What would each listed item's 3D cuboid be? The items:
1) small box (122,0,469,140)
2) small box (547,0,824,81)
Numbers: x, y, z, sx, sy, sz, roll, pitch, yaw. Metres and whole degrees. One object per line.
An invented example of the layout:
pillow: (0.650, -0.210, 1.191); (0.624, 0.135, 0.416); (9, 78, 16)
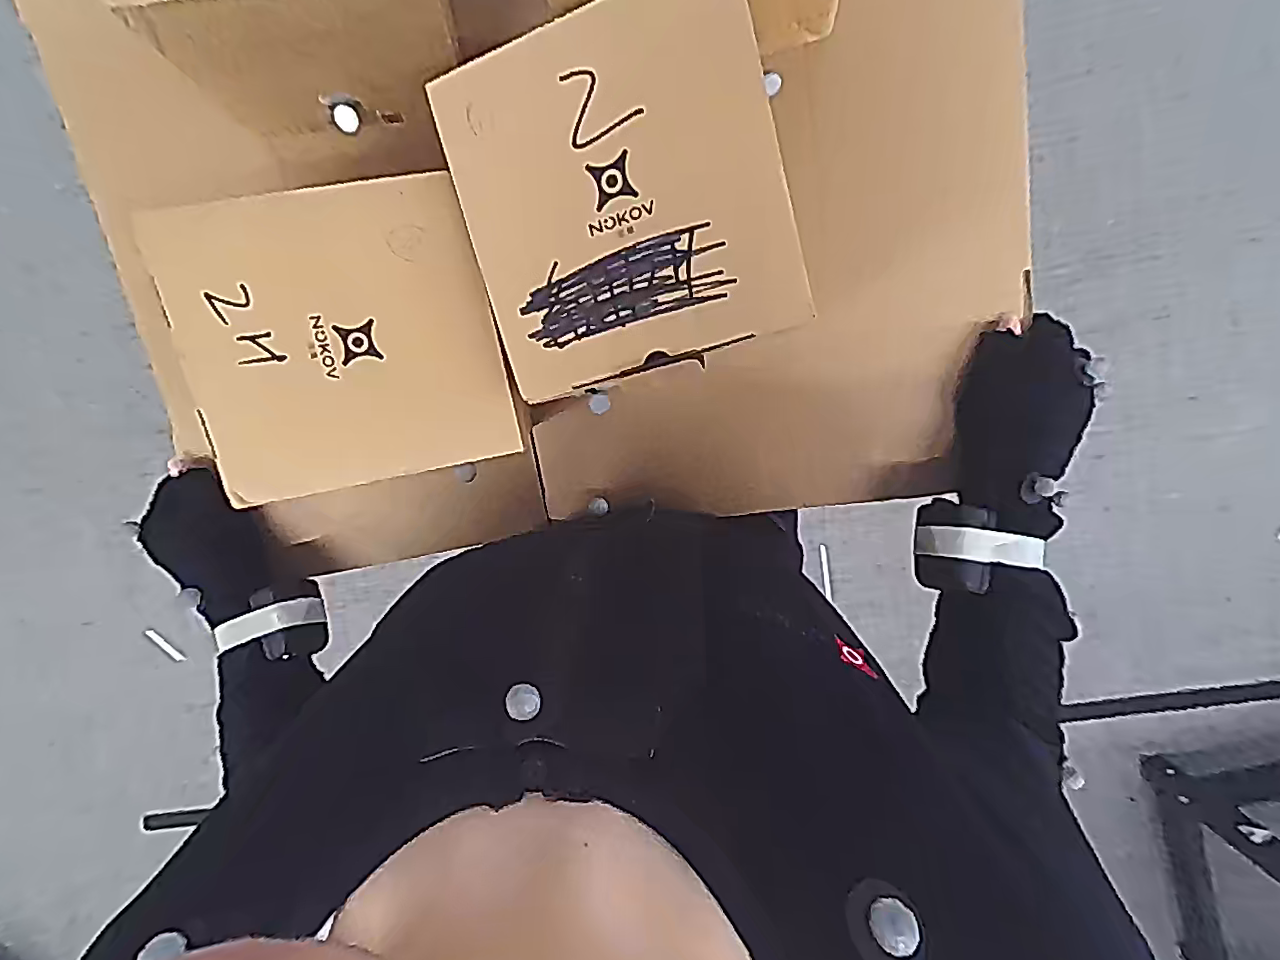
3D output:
small box: (-0.218, -0.353, 0.343); (0.168, 0.176, 0.179); (-12, 102, -7)
small box: (0.020, -0.367, 0.307); (0.168, 0.176, 0.179); (-6, 100, 14)
